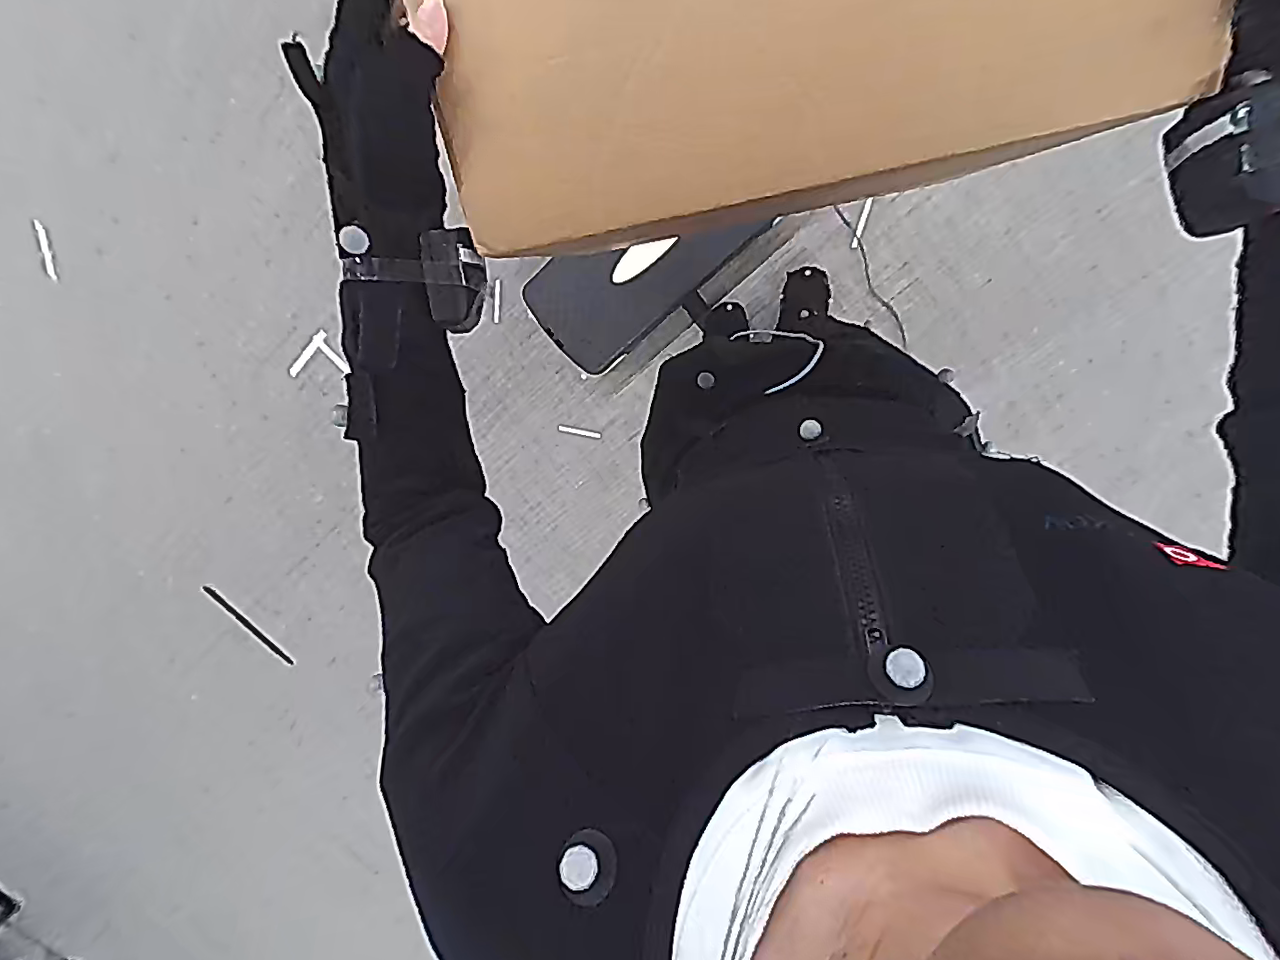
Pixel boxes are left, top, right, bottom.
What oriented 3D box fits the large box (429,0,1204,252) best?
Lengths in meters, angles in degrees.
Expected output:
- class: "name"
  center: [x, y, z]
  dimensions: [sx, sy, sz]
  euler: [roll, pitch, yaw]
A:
- class: "large box"
  center: [0.084, -0.376, 0.404]
  dimensions: [0.408, 0.320, 0.320]
  euler: [-8, 112, 10]
